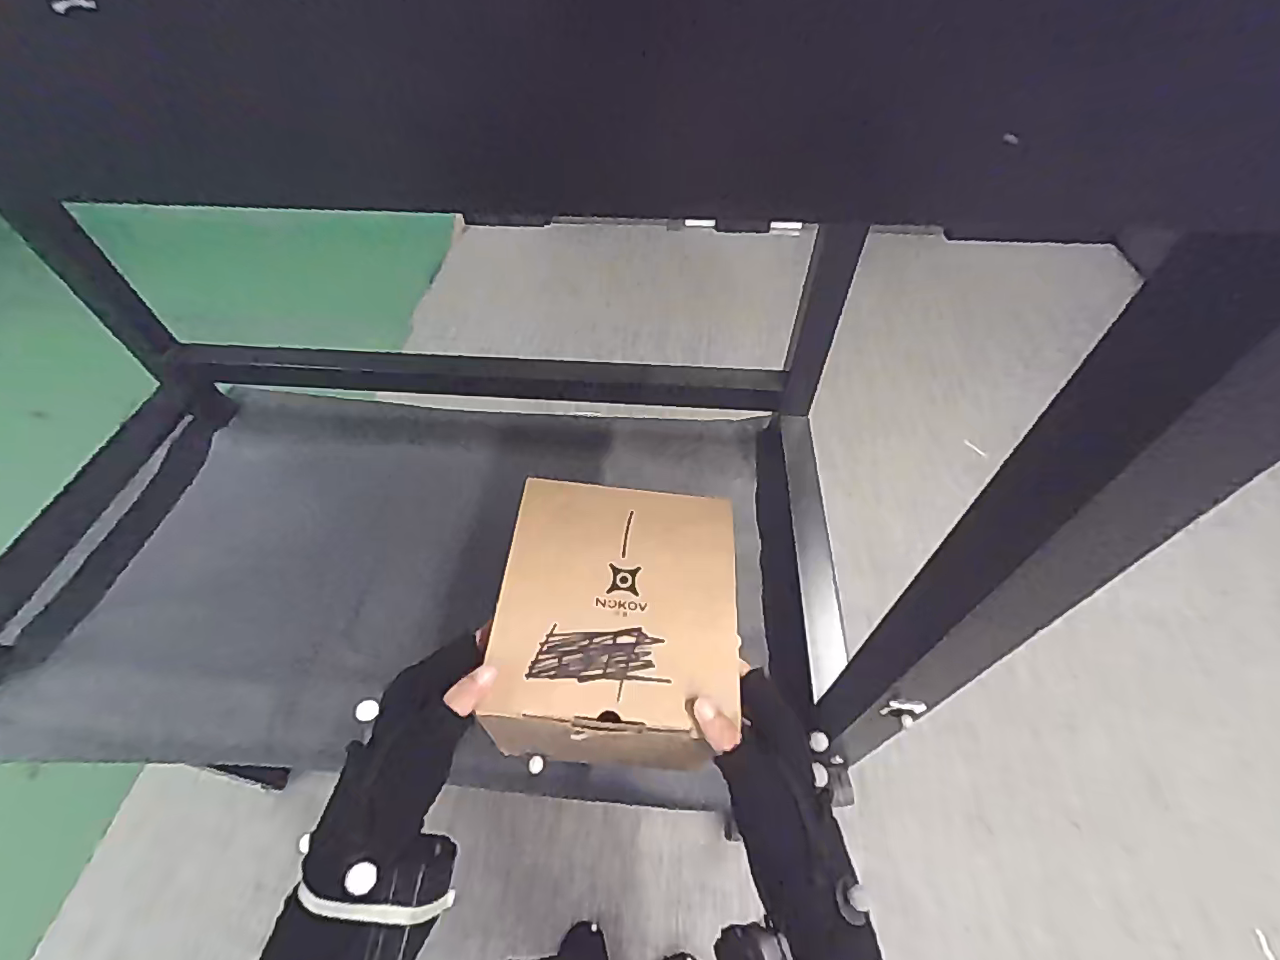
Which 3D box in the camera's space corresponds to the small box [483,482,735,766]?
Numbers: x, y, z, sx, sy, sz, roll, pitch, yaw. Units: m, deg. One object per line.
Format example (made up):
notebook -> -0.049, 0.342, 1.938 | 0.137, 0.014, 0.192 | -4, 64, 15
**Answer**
small box -> -0.019, 0.128, 0.458 | 0.168, 0.176, 0.179 | 8, 53, -2
